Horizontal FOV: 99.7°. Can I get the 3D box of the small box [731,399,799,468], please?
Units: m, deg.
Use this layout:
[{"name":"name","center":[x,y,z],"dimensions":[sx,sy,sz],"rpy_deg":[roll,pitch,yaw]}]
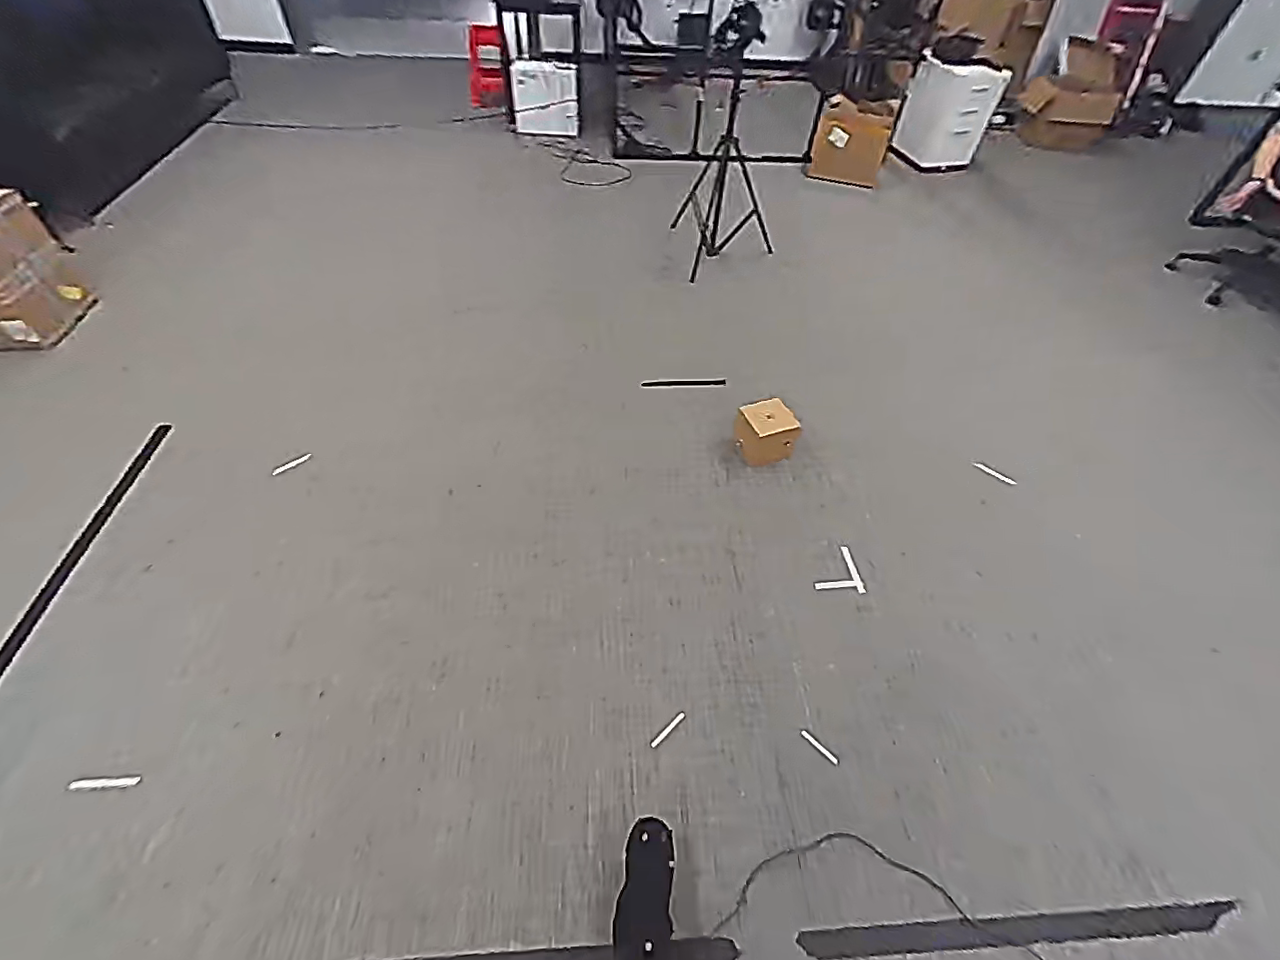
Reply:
[{"name":"small box","center":[0.466,-0.174,2.039],"dimensions":[0.179,0.176,0.168],"rpy_deg":[-17,52,-16]}]
